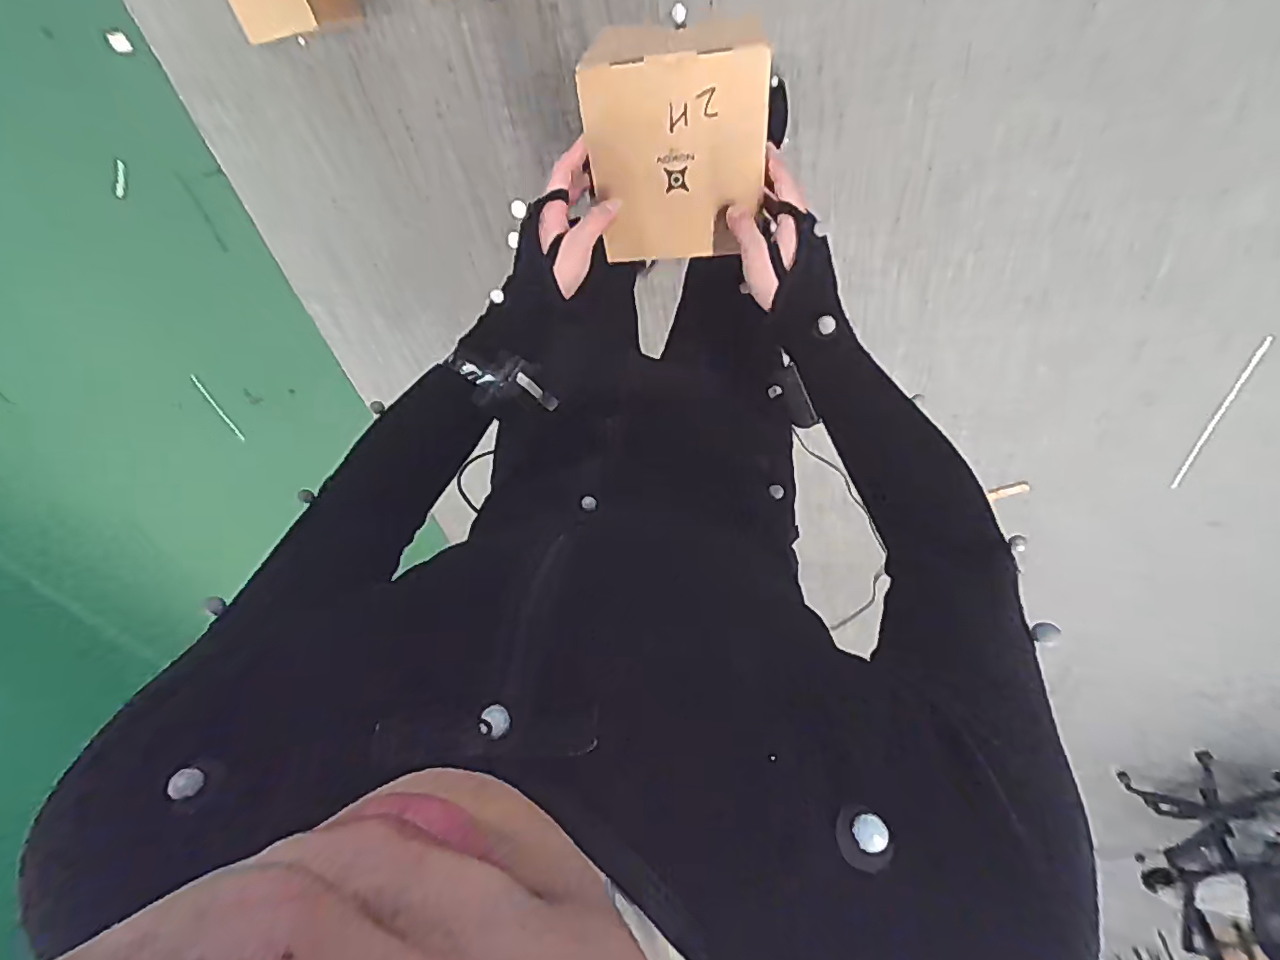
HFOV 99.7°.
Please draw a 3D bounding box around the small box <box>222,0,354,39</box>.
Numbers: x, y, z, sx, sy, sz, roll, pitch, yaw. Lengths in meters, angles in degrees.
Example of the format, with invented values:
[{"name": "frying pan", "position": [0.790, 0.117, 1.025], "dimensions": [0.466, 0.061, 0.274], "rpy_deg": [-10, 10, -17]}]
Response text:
[{"name": "small box", "position": [-0.687, -0.967, 1.020], "dimensions": [0.168, 0.176, 0.179], "rpy_deg": [-1, 132, 14]}]
